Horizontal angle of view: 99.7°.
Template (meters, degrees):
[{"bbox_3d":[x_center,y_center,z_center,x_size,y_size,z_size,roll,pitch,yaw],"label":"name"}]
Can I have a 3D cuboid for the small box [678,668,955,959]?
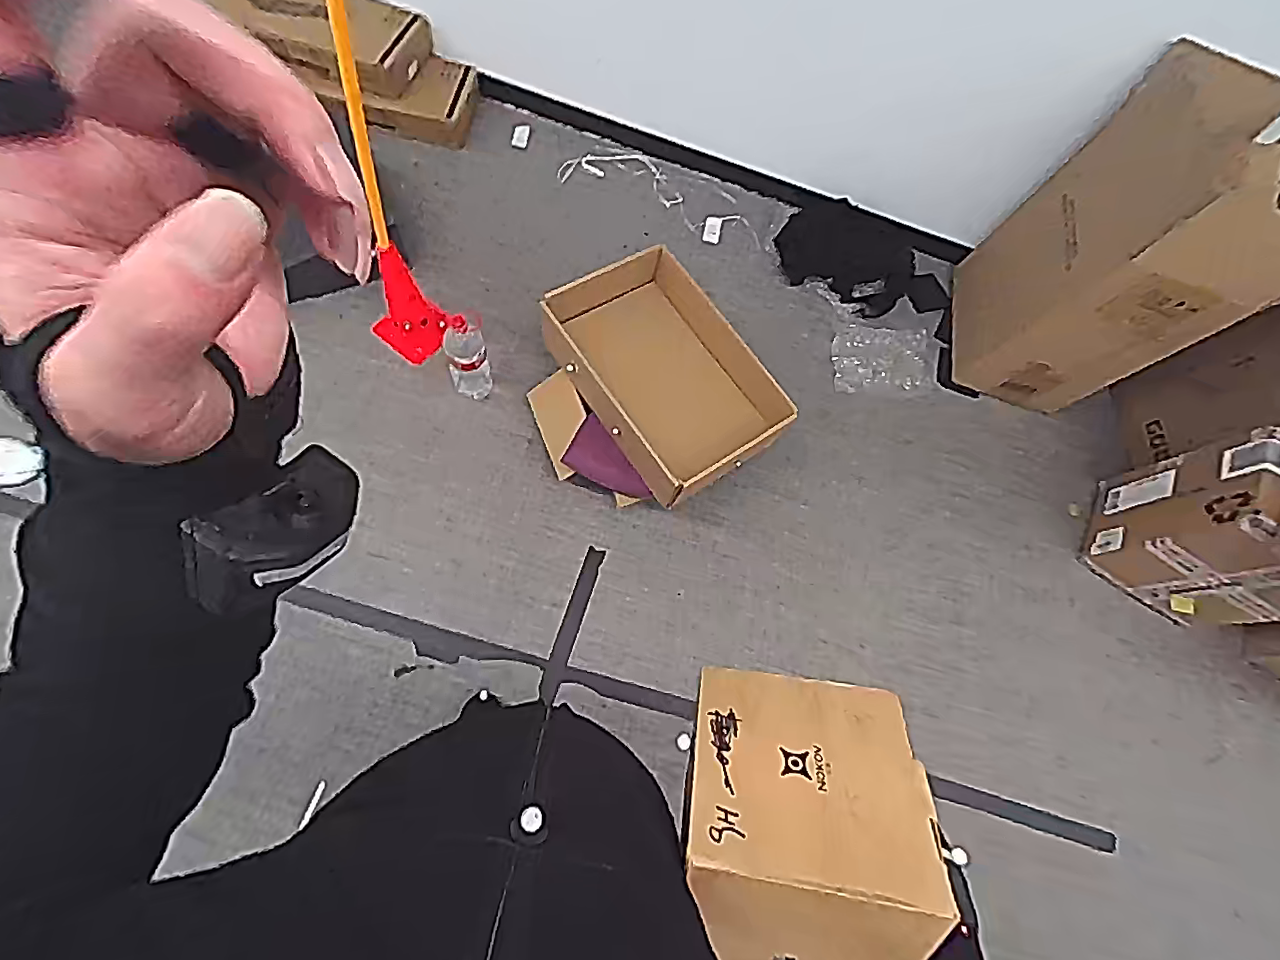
[{"bbox_3d":[0.134,0.298,0.473,0.179,0.176,0.168,7,32,7],"label":"small box"}]
